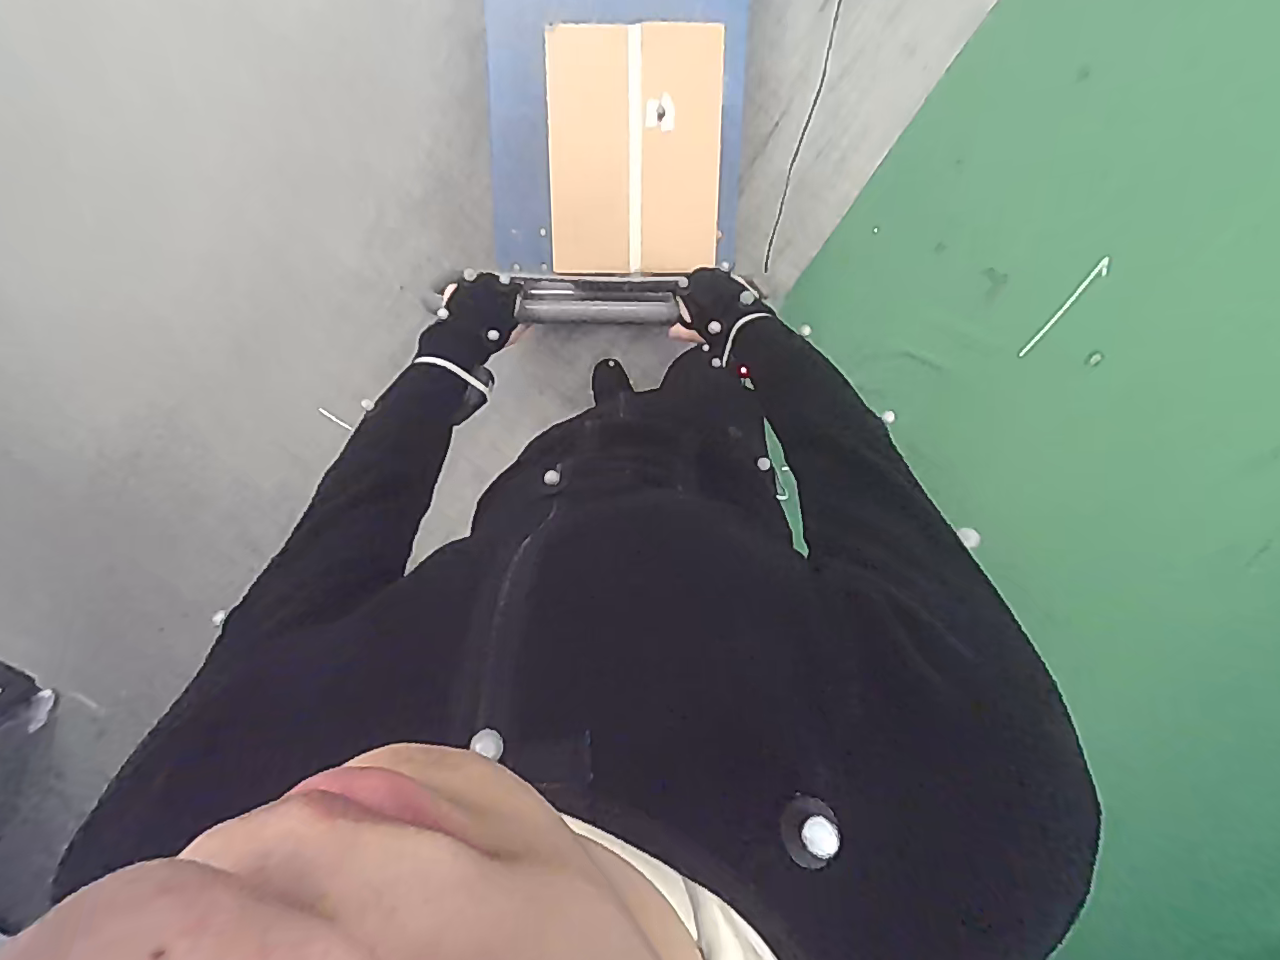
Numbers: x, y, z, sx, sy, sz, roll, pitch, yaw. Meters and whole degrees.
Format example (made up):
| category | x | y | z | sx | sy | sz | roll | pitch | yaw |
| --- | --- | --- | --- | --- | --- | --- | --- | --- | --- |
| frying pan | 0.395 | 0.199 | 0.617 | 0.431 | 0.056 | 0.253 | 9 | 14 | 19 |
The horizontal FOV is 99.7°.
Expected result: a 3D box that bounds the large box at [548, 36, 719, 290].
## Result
| category | x | y | z | sx | sy | sz | roll | pitch | yaw |
| --- | --- | --- | --- | --- | --- | --- | --- | --- | --- |
| large box | -0.008 | -0.628 | 1.150 | 0.320 | 0.320 | 0.408 | 0 | 105 | 0 |
